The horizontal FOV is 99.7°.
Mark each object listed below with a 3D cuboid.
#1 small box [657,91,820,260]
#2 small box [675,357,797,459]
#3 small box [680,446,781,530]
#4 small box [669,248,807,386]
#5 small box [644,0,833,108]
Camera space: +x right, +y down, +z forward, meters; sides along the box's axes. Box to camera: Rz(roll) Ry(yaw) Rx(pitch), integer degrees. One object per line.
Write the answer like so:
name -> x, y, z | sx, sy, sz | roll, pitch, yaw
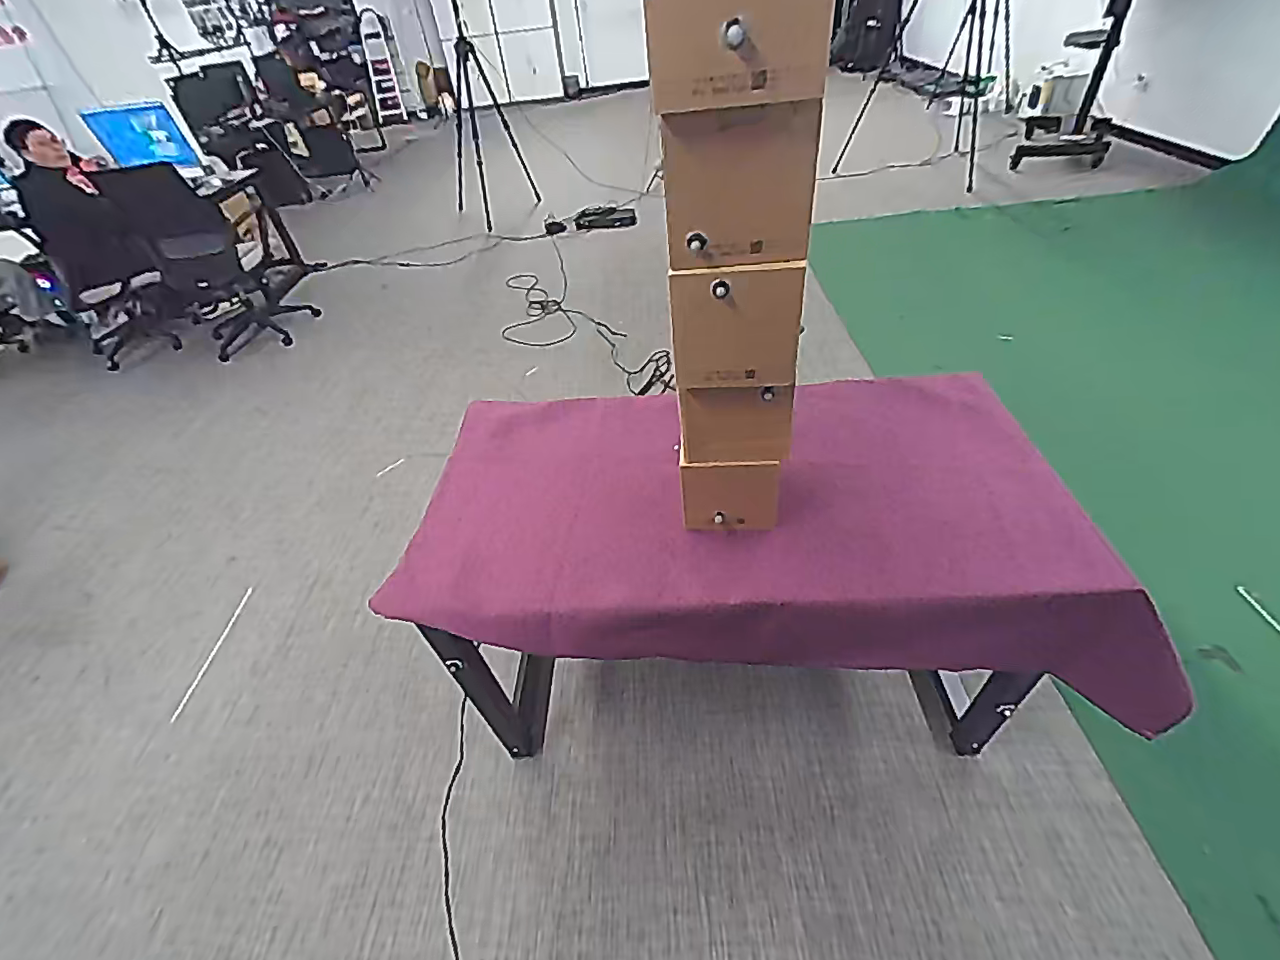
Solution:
small box -> 0.113, -0.376, 0.653 | 0.168, 0.176, 0.179 | -3, 43, 6
small box -> 0.153, -0.146, 0.884 | 0.179, 0.176, 0.168 | -2, 44, 7
small box -> 0.164, -0.029, 0.994 | 0.168, 0.176, 0.179 | -1, 44, 9
small box -> 0.134, -0.248, 0.755 | 0.168, 0.176, 0.179 | 0, 43, 10
small box -> 0.095, -0.477, 0.522 | 0.168, 0.176, 0.179 | 1, 45, 11
